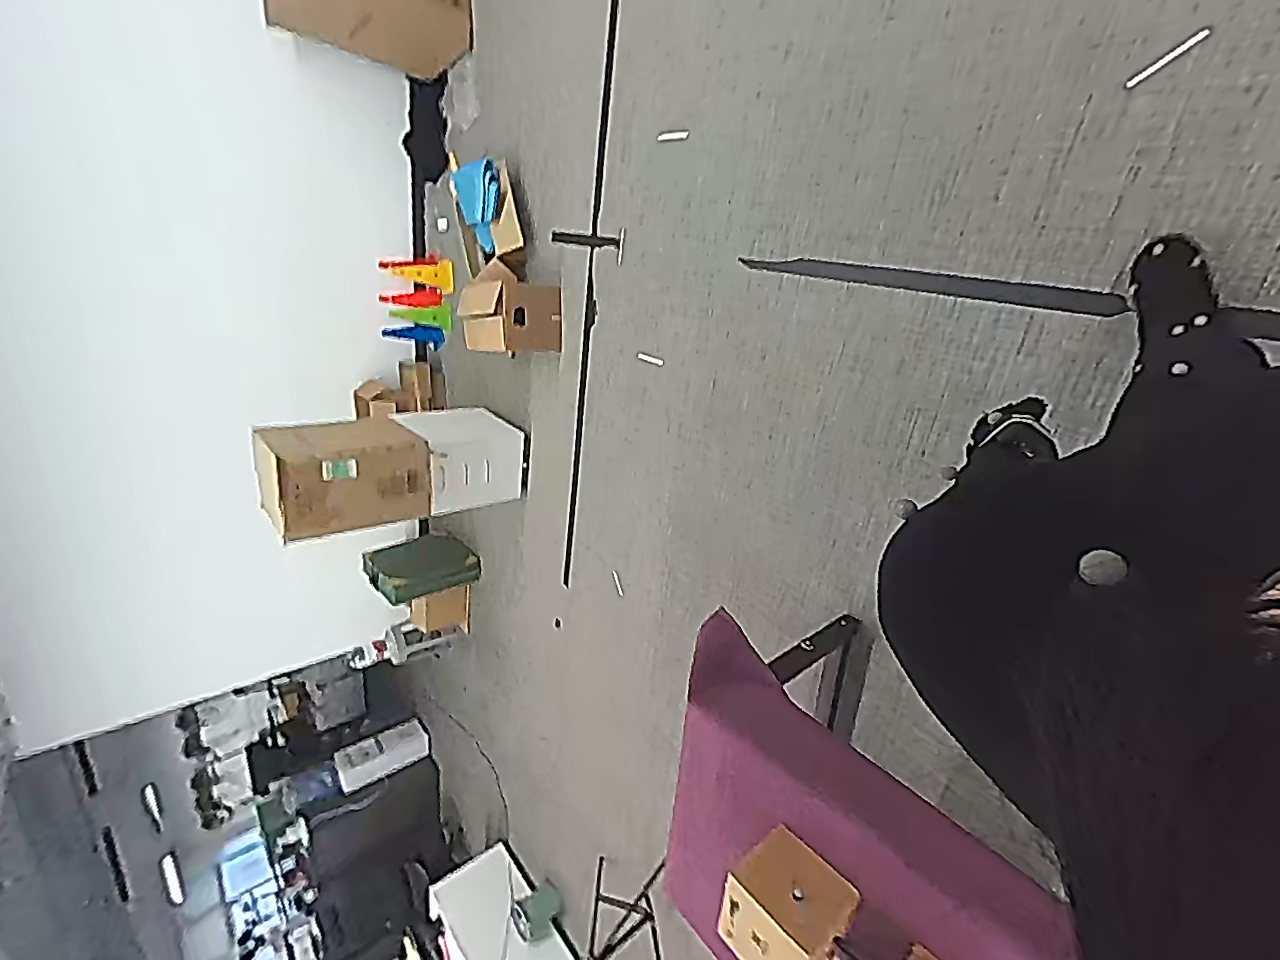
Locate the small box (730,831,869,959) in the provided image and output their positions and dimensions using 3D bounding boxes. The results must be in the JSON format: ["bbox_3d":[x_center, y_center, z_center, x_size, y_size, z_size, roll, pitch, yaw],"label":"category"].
[{"bbox_3d":[0.294,0.807,0.999,0.179,0.176,0.168,24,116,43],"label":"small box"}]
